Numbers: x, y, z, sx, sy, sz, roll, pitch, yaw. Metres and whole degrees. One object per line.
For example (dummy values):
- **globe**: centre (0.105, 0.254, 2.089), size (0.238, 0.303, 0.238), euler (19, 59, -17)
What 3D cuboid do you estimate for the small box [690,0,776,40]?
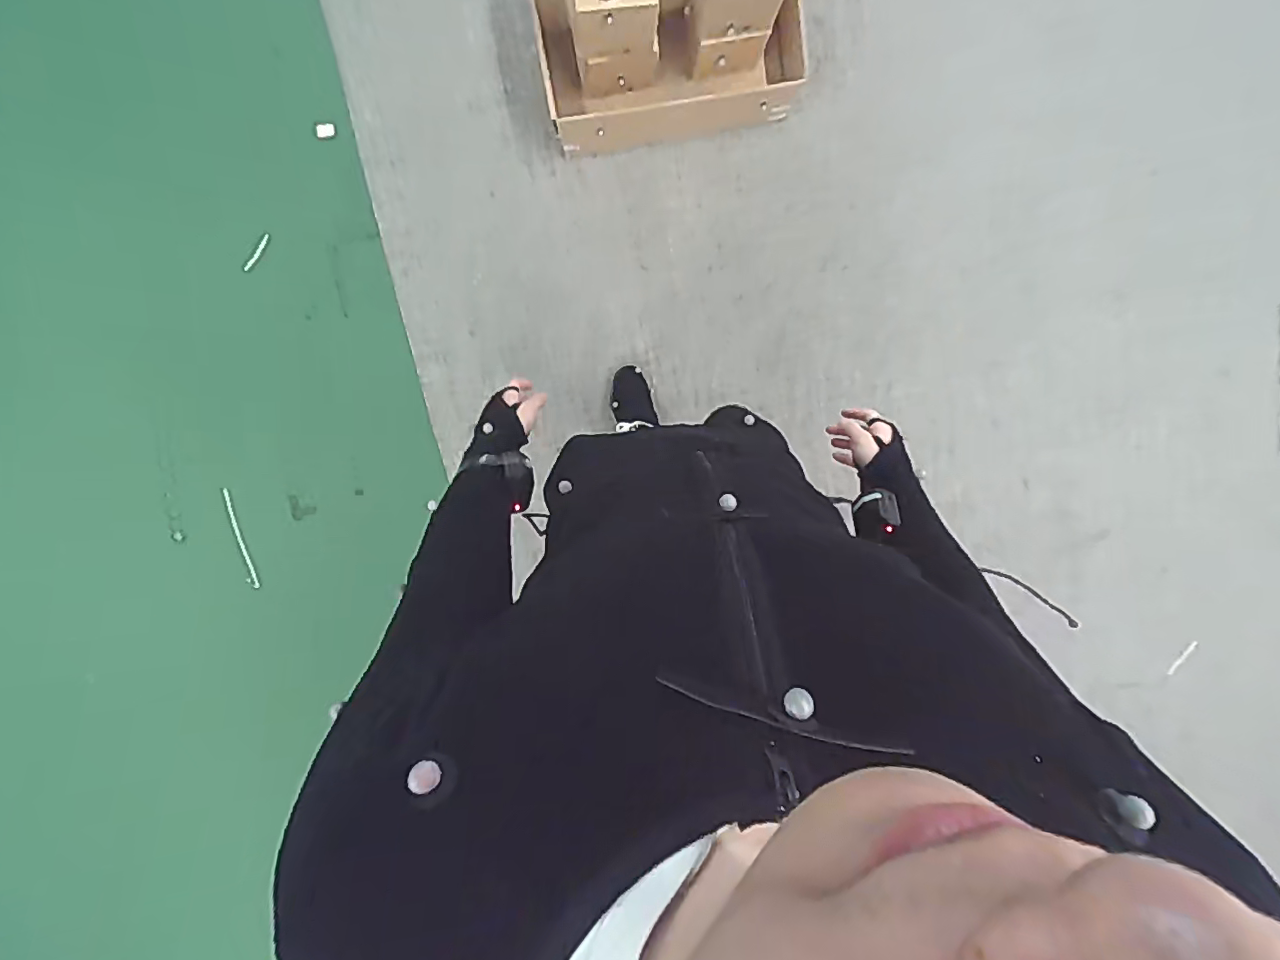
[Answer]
- **small box**: centre (0.192, -1.076, 1.131), size (0.168, 0.176, 0.179), euler (-9, 102, 1)

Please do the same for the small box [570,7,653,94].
- **small box**: centre (-0.069, -1.057, 1.288), size (0.168, 0.176, 0.179), euler (-12, 101, -2)

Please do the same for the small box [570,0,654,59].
- **small box**: centre (-0.066, -1.027, 1.126), size (0.168, 0.176, 0.179), euler (-6, 100, -1)

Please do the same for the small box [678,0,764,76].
- **small box**: centre (0.189, -1.104, 1.292), size (0.168, 0.176, 0.179), euler (-11, 101, 0)
